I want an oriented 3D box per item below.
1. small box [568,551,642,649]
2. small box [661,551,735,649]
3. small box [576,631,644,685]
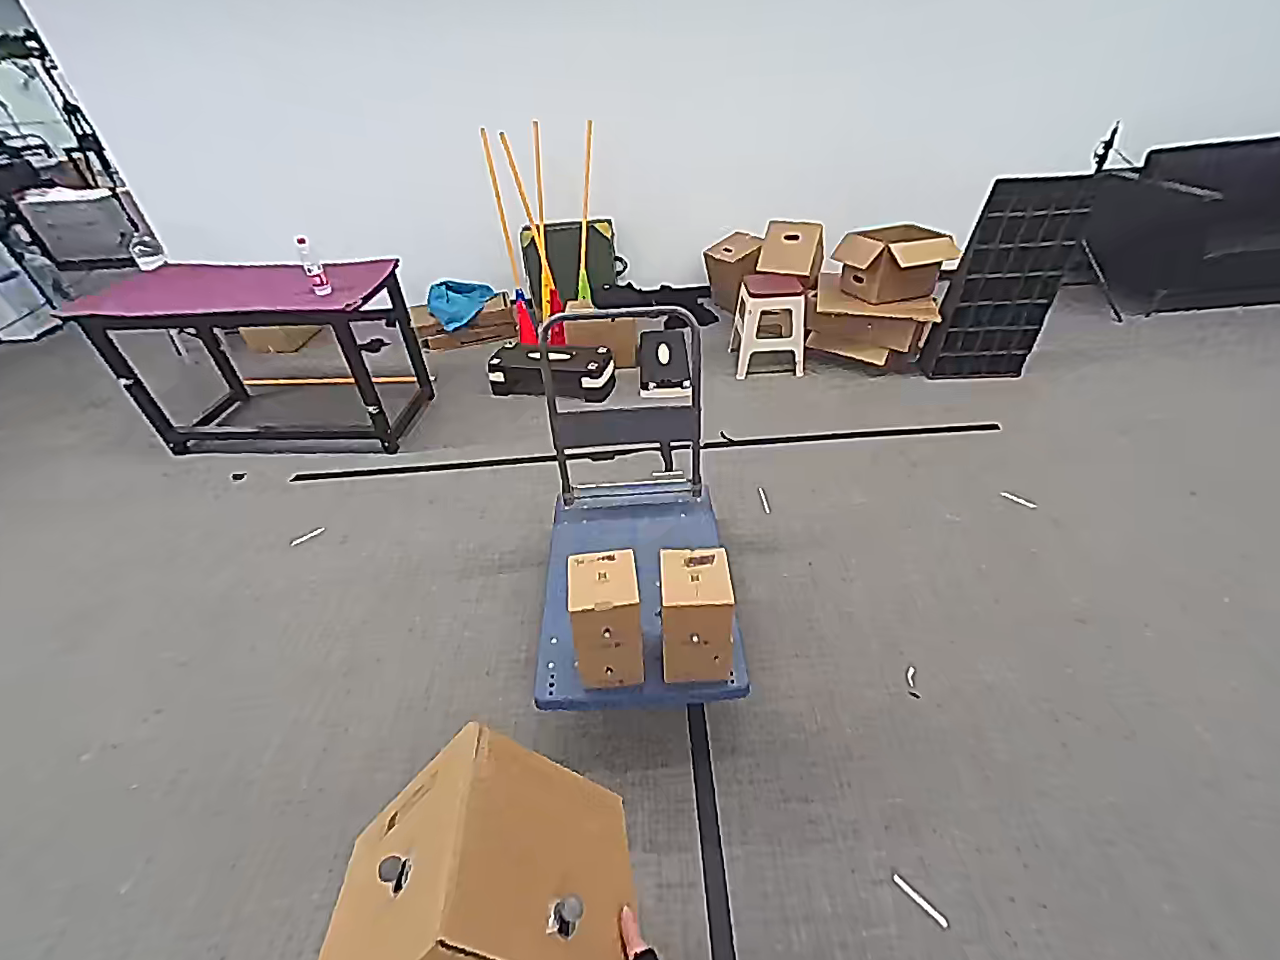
[{"bbox_3d":[-0.085,0.302,1.340,0.168,0.176,0.179,-5,39,-3],"label":"small box"},{"bbox_3d":[0.136,0.294,1.335,0.168,0.176,0.179,-1,39,1],"label":"small box"},{"bbox_3d":[-0.078,0.430,1.444,0.168,0.176,0.179,-3,38,-2],"label":"small box"}]
